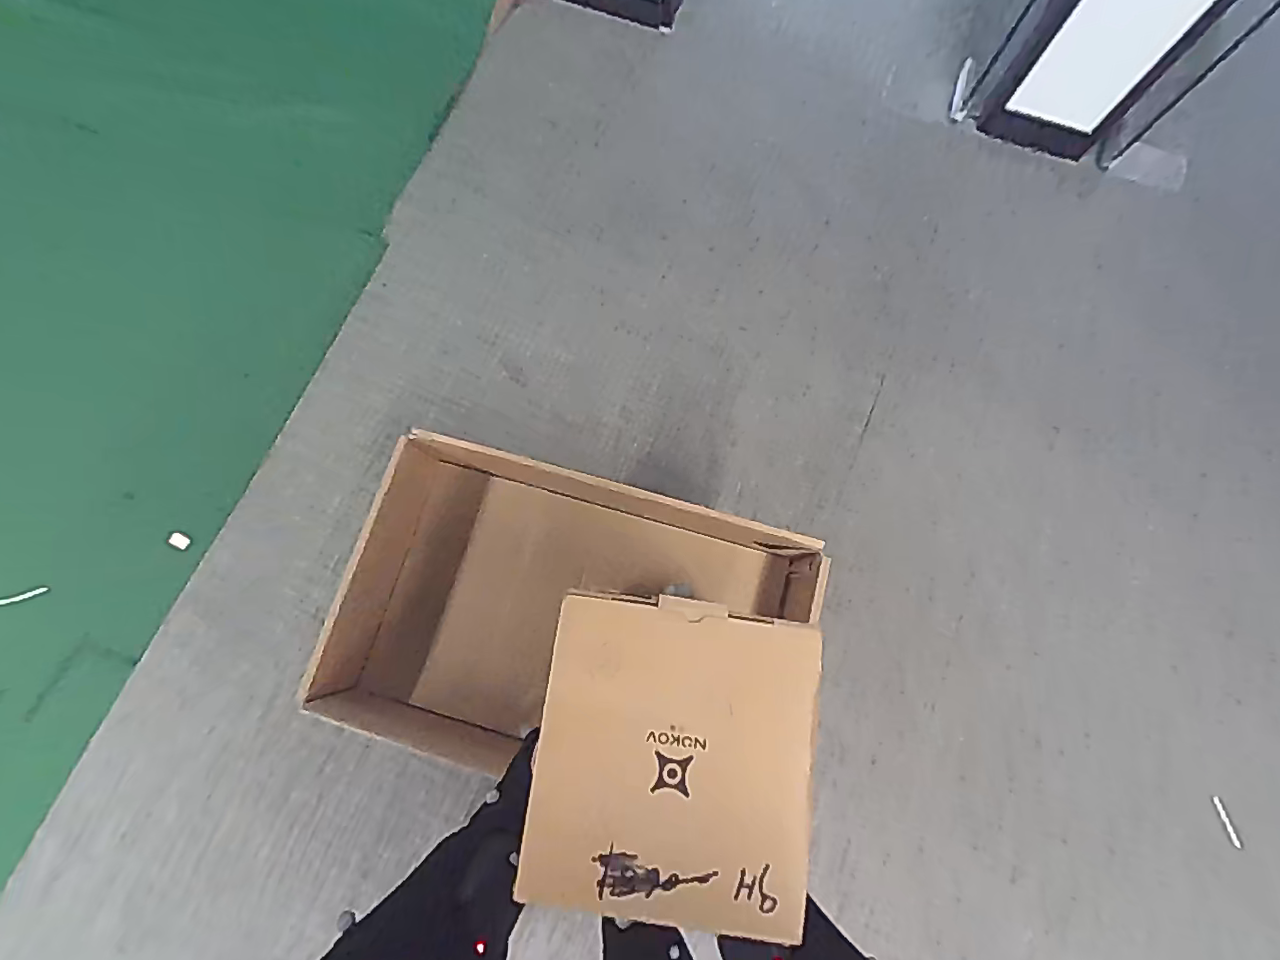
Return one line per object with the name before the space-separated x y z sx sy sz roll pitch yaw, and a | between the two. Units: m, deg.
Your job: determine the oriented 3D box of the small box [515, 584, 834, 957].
small box | 0.024 0.176 0.386 0.168 0.176 0.179 8 77 2
